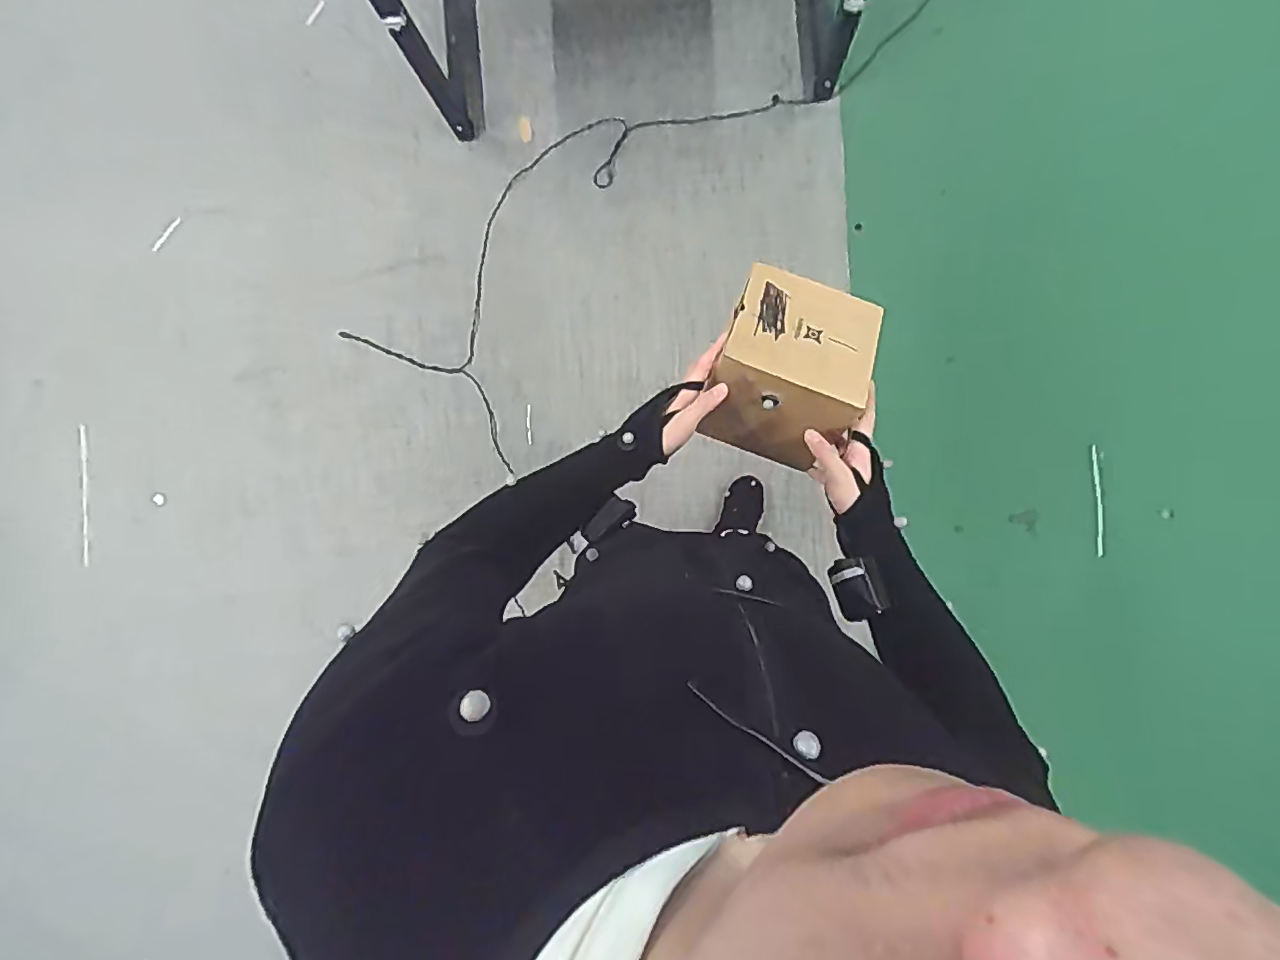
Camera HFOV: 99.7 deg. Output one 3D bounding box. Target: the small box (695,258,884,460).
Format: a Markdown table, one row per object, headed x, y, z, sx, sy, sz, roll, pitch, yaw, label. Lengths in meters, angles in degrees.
| x | y | z | sx | sy | sz | roll | pitch | yaw | label |
| --- | --- | --- | --- | --- | --- | --- | --- | --- | --- |
| 0.187 | -0.149 | 0.712 | 0.179 | 0.176 | 0.168 | 21 | 64 | 1 | small box |
